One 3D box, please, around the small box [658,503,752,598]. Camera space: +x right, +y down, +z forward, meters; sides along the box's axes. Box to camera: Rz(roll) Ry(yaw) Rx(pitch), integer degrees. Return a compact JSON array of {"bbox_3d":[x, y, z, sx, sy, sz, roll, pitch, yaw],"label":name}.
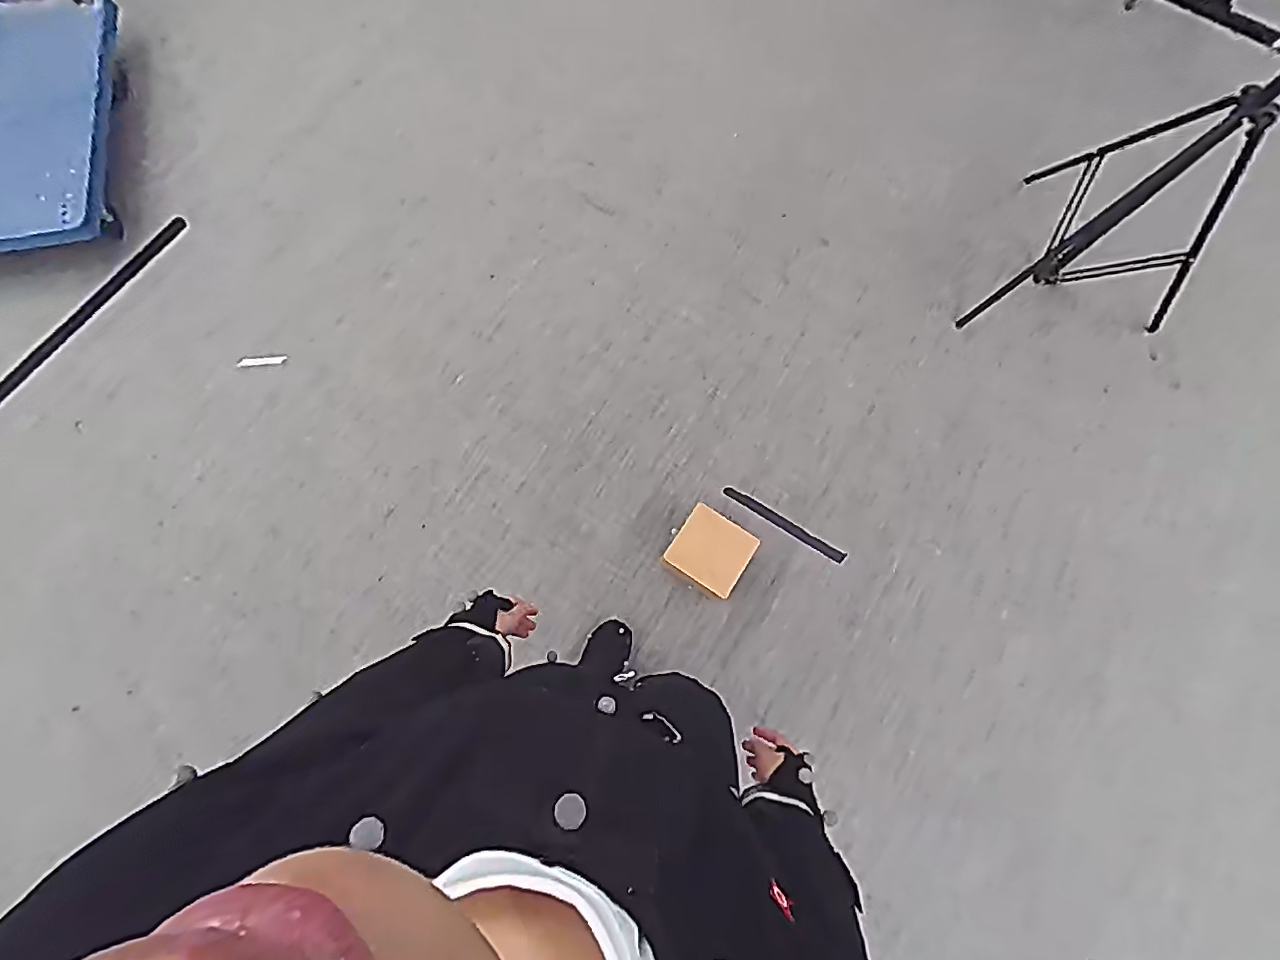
[{"bbox_3d":[0.162,0.178,1.347,0.179,0.176,0.168,34,78,6],"label":"small box"}]
